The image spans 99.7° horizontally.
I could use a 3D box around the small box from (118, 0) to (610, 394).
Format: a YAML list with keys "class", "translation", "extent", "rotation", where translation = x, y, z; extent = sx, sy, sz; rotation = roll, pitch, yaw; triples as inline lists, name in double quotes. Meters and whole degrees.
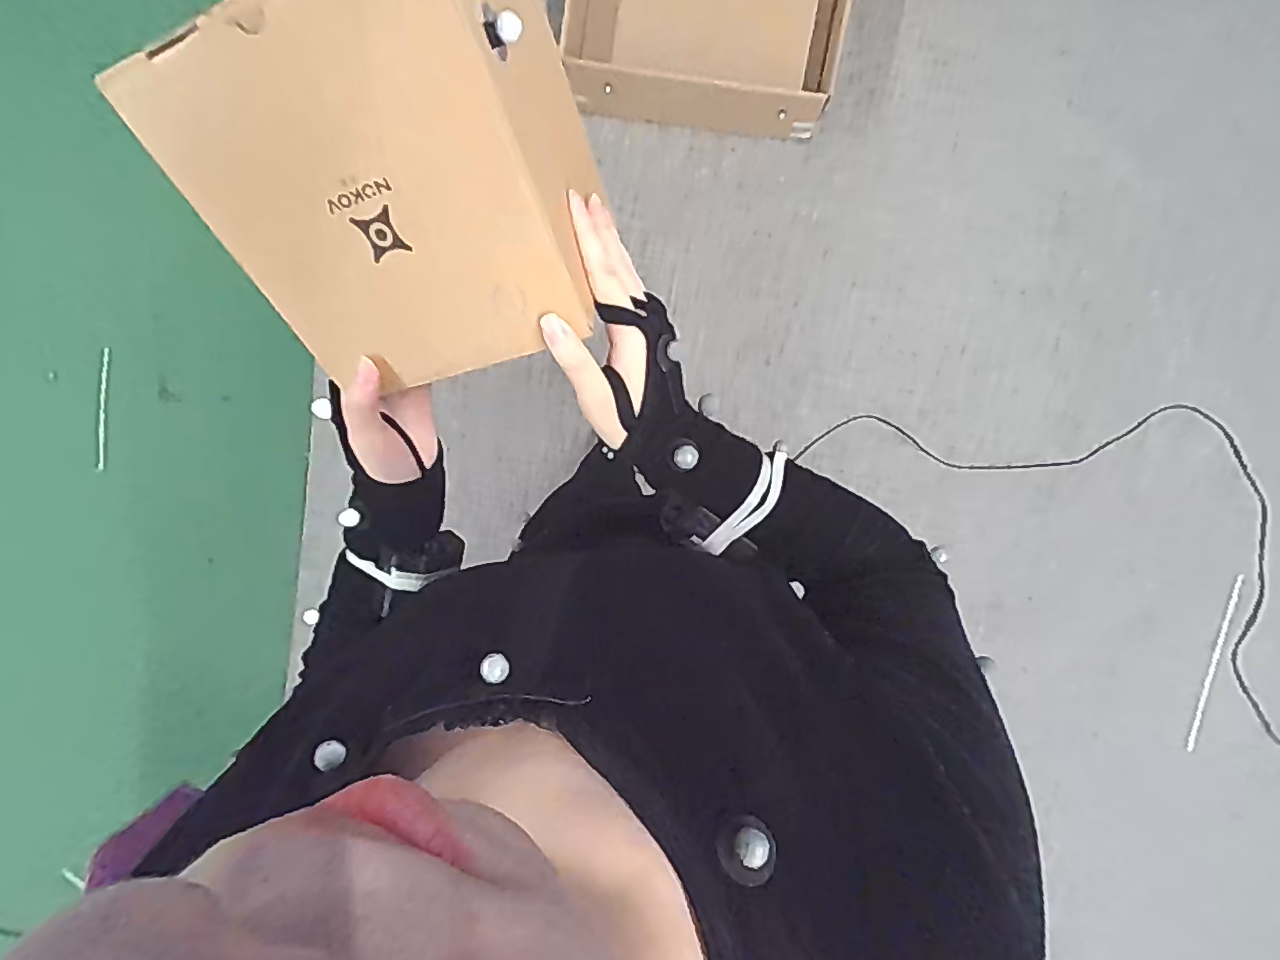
- class: "small box"
  translation: [-0.126, -0.184, 0.333]
  extent: [0.168, 0.176, 0.179]
  rotation: [-11, 130, 14]
